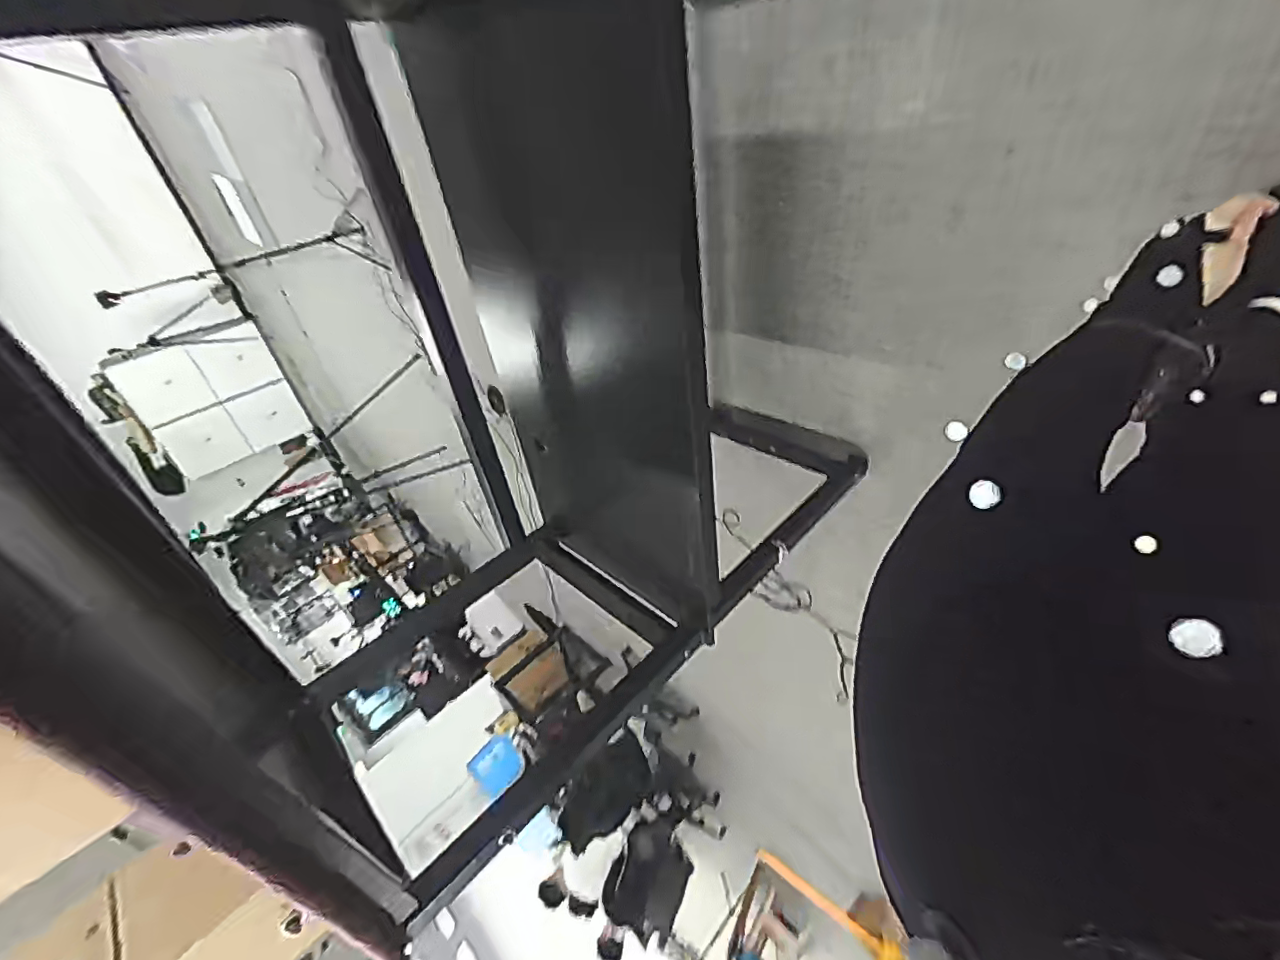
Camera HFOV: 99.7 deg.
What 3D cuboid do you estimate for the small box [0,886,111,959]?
[{"bbox_3d":[-0.650,0.631,0.624,0.168,0.176,0.179,22,137,41],"label":"small box"}]

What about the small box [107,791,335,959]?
[{"bbox_3d":[-0.534,0.545,0.705,0.179,0.176,0.168,22,137,41],"label":"small box"}]
